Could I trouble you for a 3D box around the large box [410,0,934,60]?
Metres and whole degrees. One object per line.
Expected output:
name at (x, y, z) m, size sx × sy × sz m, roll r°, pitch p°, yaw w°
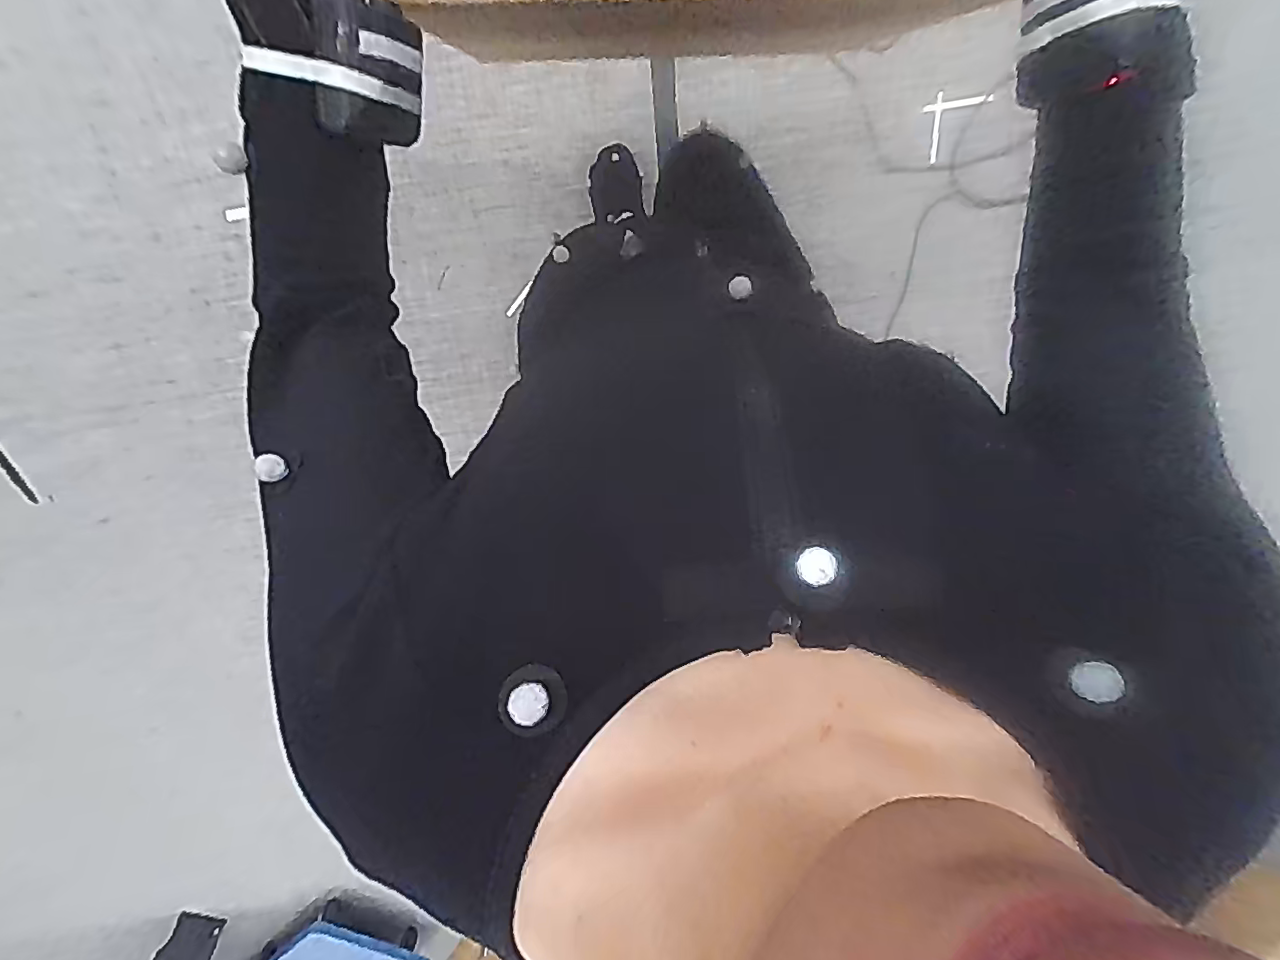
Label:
large box at (0.030, -0.504, 0.363) m, size 0.408 × 0.320 × 0.320 m, roll -4°, pitch 123°, yaw -2°
